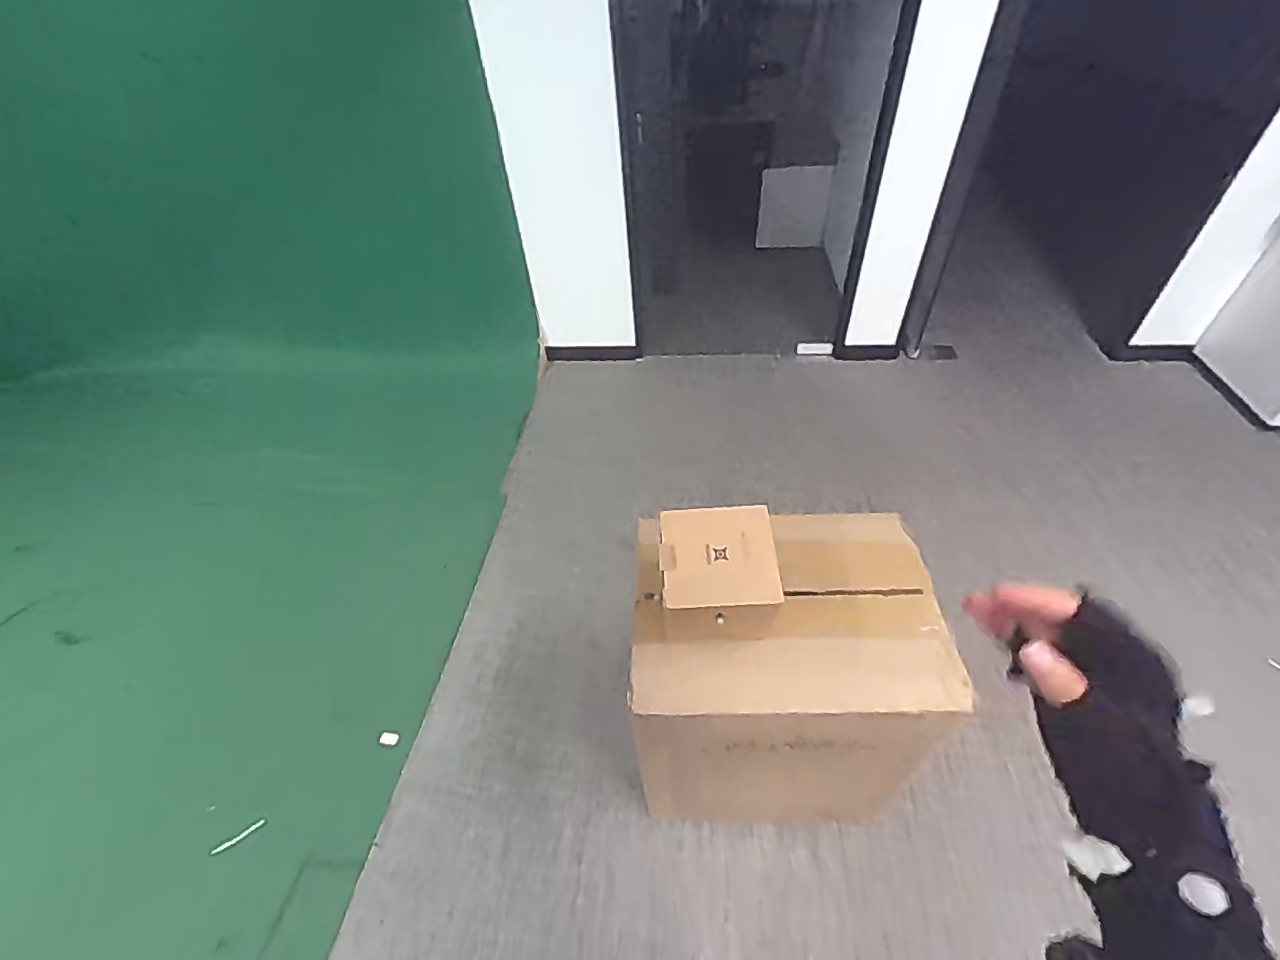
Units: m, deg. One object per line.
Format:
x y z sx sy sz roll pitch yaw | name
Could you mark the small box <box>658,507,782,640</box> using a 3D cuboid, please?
0.123 0.159 0.896 0.179 0.176 0.168 -3 57 1 | small box
